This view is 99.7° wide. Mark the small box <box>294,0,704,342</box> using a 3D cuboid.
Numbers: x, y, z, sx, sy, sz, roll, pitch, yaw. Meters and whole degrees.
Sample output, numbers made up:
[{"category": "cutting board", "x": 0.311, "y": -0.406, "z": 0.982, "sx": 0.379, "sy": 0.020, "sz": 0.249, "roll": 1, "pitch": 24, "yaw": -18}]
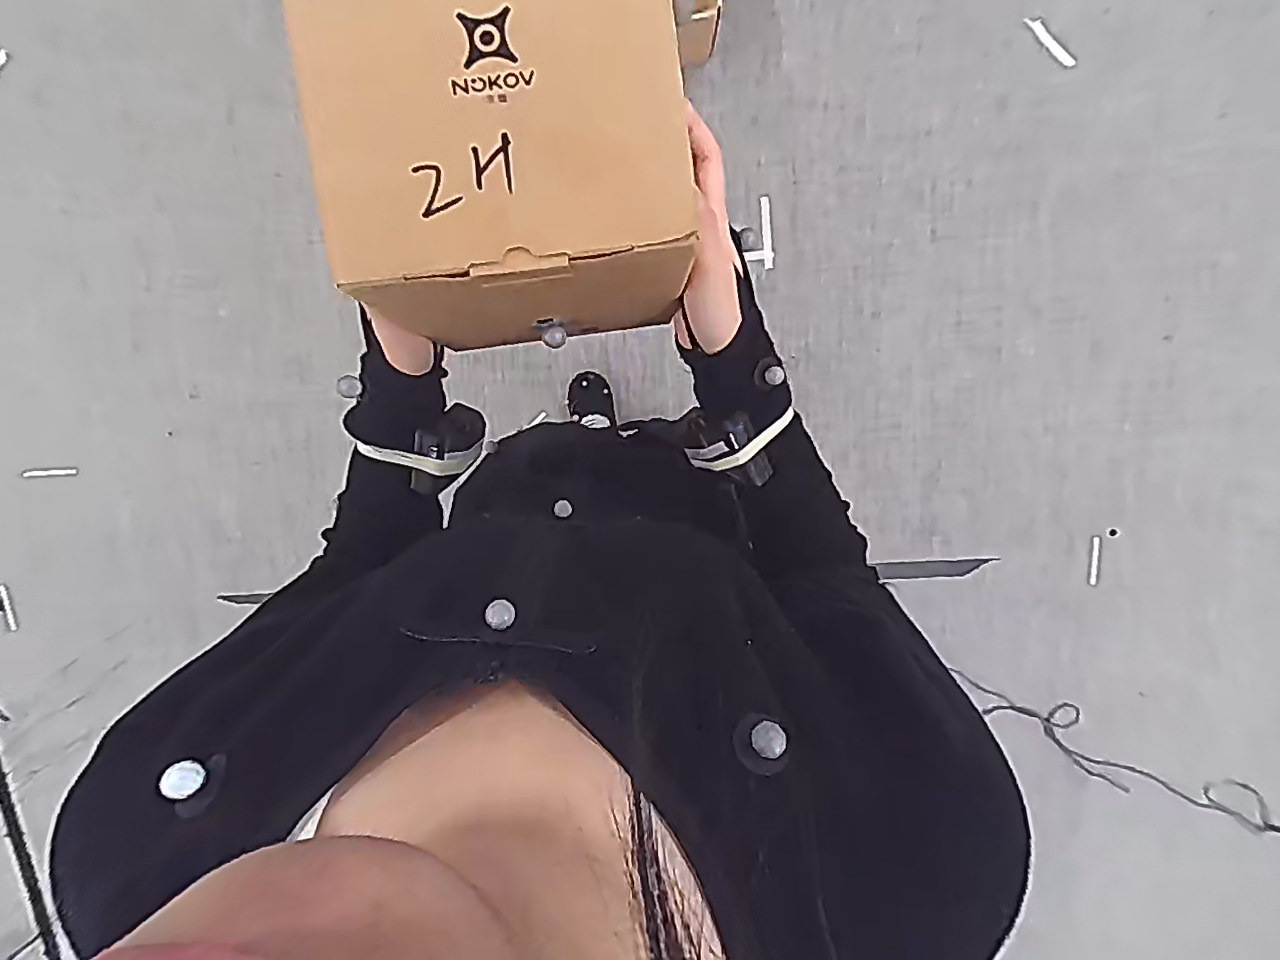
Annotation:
[{"category": "small box", "x": -0.065, "y": -0.191, "z": 0.312, "sx": 0.168, "sy": 0.176, "sz": 0.179, "roll": -8, "pitch": 95, "yaw": -1}]
